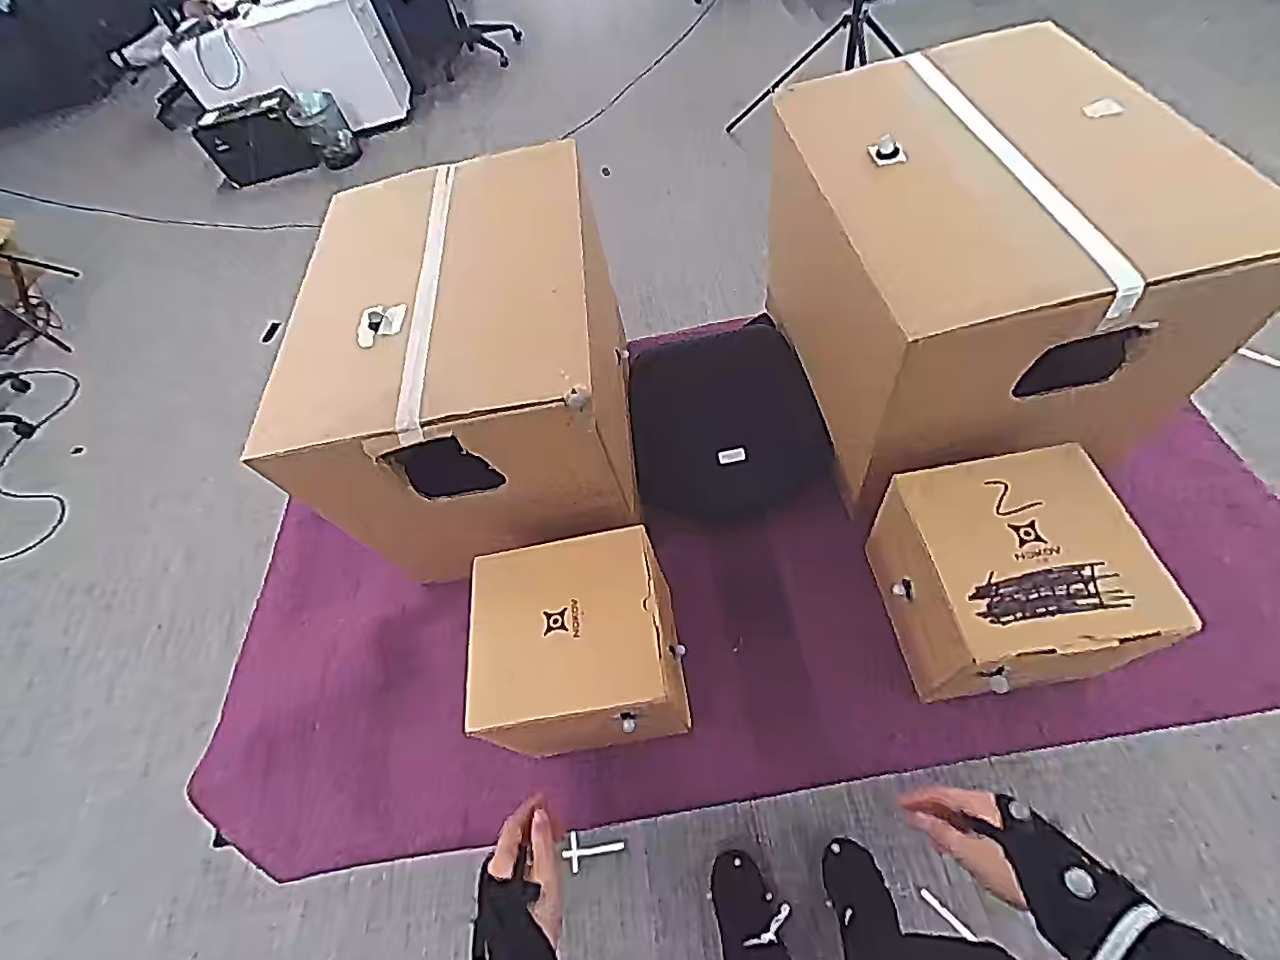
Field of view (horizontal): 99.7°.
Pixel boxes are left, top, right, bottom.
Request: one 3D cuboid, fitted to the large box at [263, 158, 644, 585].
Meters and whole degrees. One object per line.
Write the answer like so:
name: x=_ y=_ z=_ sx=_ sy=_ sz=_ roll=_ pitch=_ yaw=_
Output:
large box: x=-0.186 y=-0.123 z=0.692 sx=0.320 sy=0.320 sz=0.408 roll=-11 pitch=60 yaw=6
